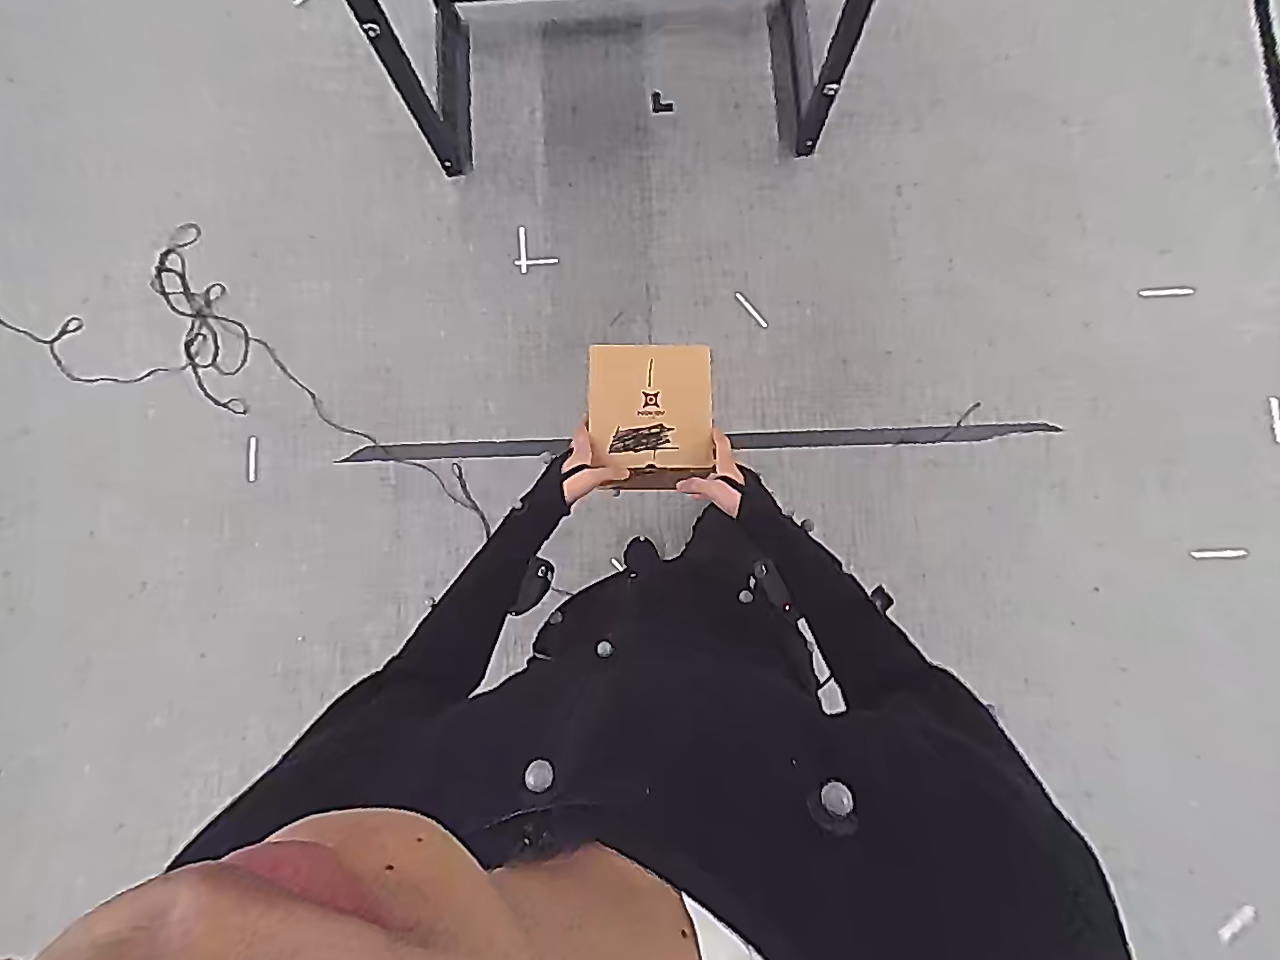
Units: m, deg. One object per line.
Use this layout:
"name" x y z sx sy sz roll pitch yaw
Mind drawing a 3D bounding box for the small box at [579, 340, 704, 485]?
"small box" 0.002 -0.089 0.793 0.168 0.176 0.179 0 79 -1
